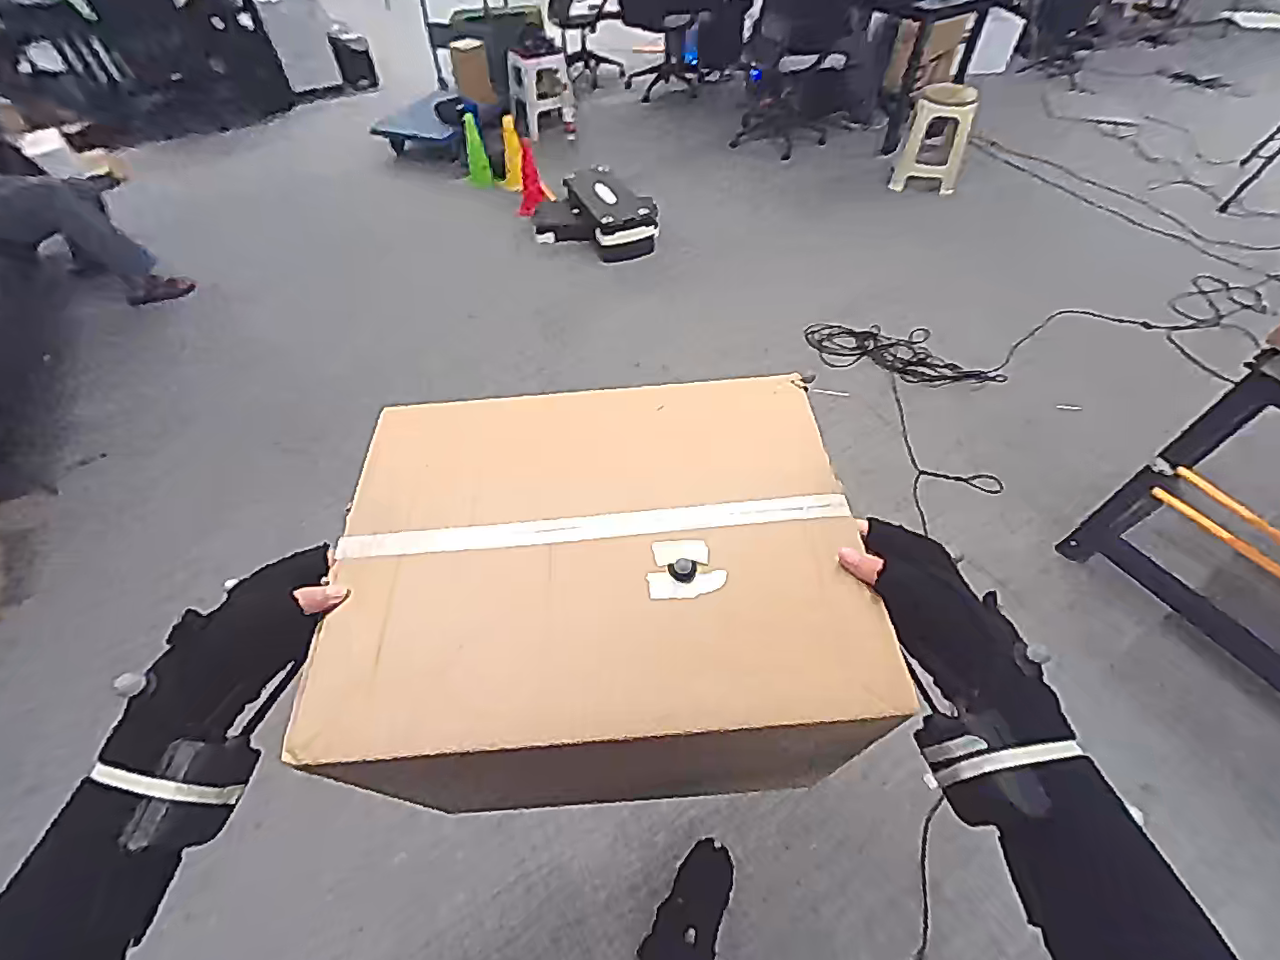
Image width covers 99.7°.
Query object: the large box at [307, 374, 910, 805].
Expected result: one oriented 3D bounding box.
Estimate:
[{"bbox_3d":[-0.026,0.122,0.556,0.408,0.320,0.320,-4,54,-1],"label":"large box"}]
